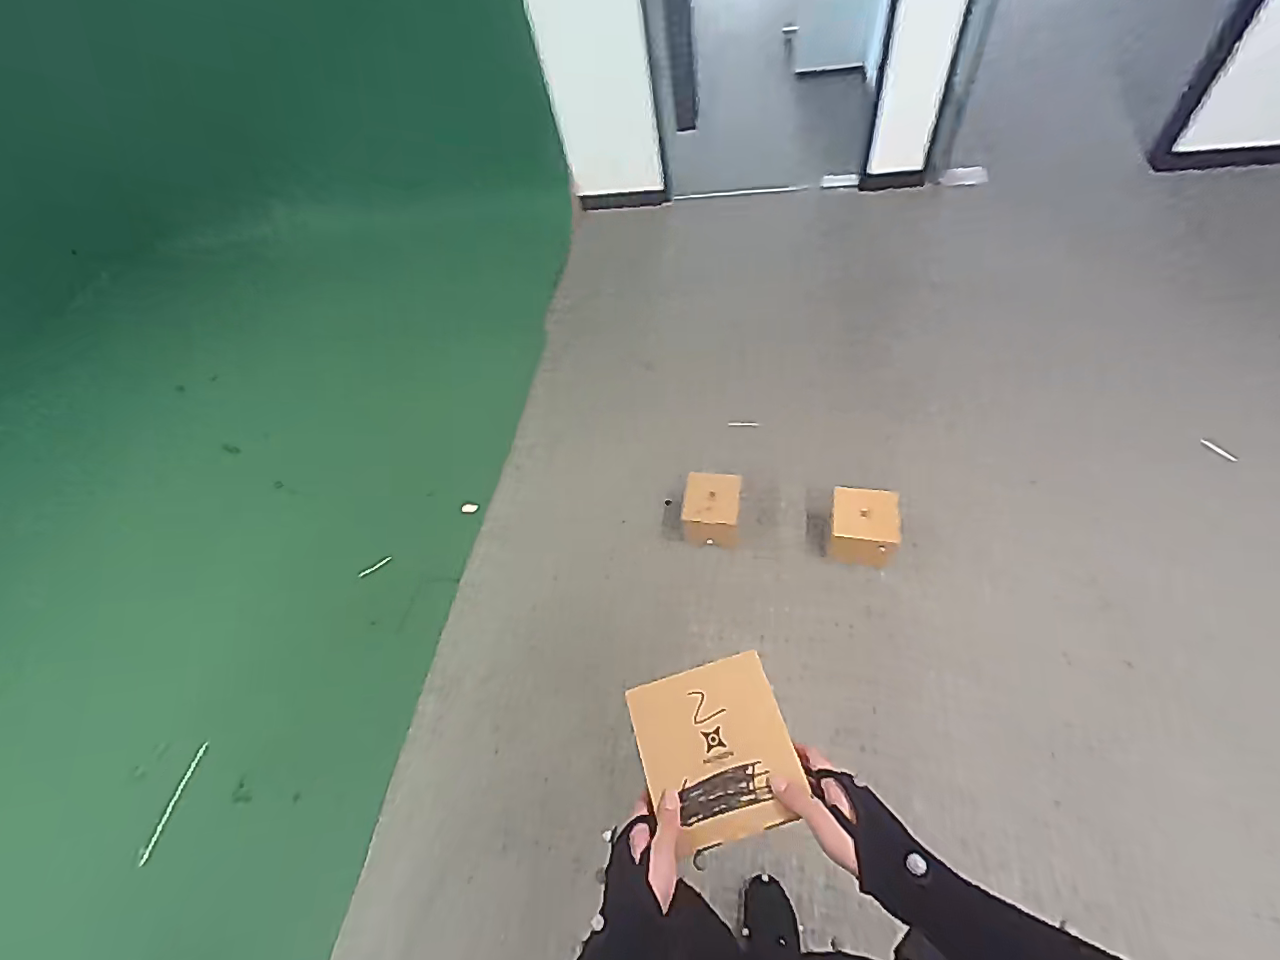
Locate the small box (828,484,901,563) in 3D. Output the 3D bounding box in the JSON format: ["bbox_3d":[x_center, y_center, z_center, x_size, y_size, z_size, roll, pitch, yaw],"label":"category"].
[{"bbox_3d":[0.650,0.130,1.583,0.179,0.176,0.168,5,59,14],"label":"small box"}]

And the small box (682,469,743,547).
[{"bbox_3d":[0.231,0.089,1.691,0.168,0.176,0.179,4,58,14],"label":"small box"}]
